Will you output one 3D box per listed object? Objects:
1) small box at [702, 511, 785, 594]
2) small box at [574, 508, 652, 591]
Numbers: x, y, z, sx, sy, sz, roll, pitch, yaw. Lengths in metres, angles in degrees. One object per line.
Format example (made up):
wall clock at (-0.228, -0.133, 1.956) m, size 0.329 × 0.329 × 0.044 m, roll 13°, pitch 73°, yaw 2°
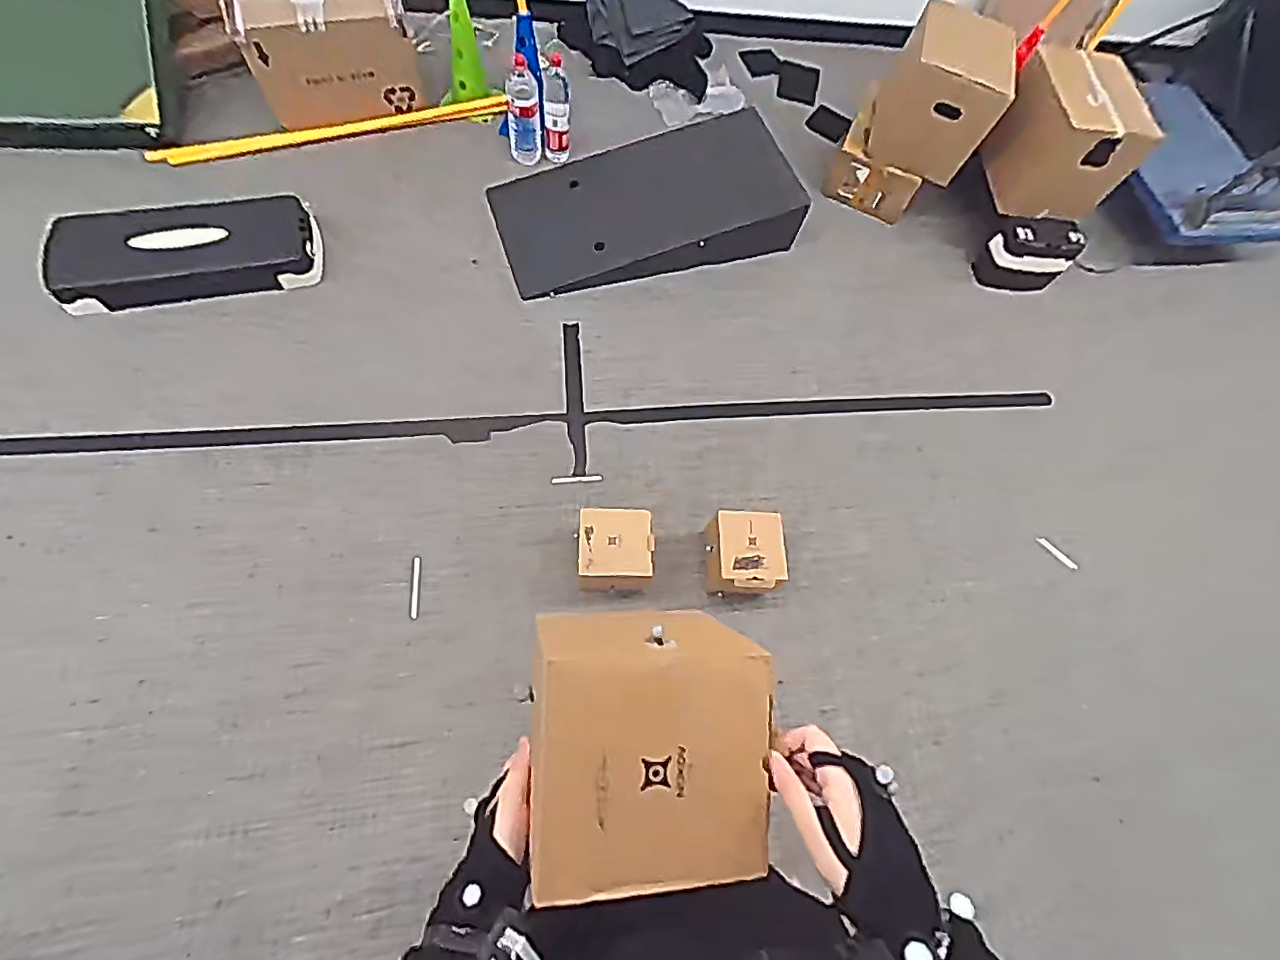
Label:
small box at (0.259, 0.192, 1.388) m, size 0.168 × 0.176 × 0.179 m, roll 3°, pitch 66°, yaw -7°
small box at (-0.070, 0.178, 1.345) m, size 0.179 × 0.176 × 0.168 m, roll 3°, pitch 67°, yaw -8°
